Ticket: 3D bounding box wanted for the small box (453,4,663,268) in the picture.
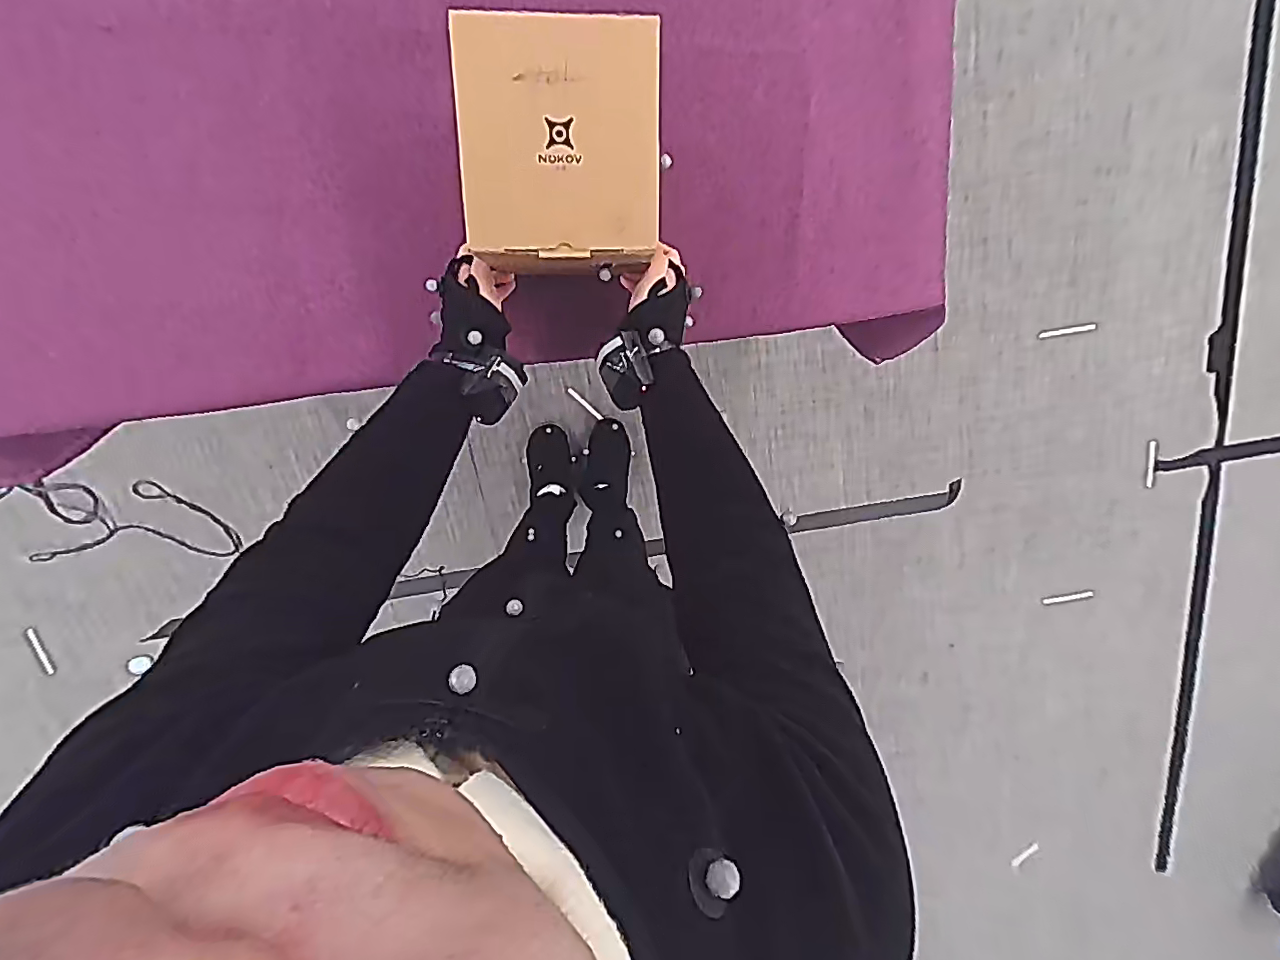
[{"bbox_3d":[-0.069,-0.303,0.518,0.168,0.176,0.179,-1,105,-4],"label":"small box"}]
